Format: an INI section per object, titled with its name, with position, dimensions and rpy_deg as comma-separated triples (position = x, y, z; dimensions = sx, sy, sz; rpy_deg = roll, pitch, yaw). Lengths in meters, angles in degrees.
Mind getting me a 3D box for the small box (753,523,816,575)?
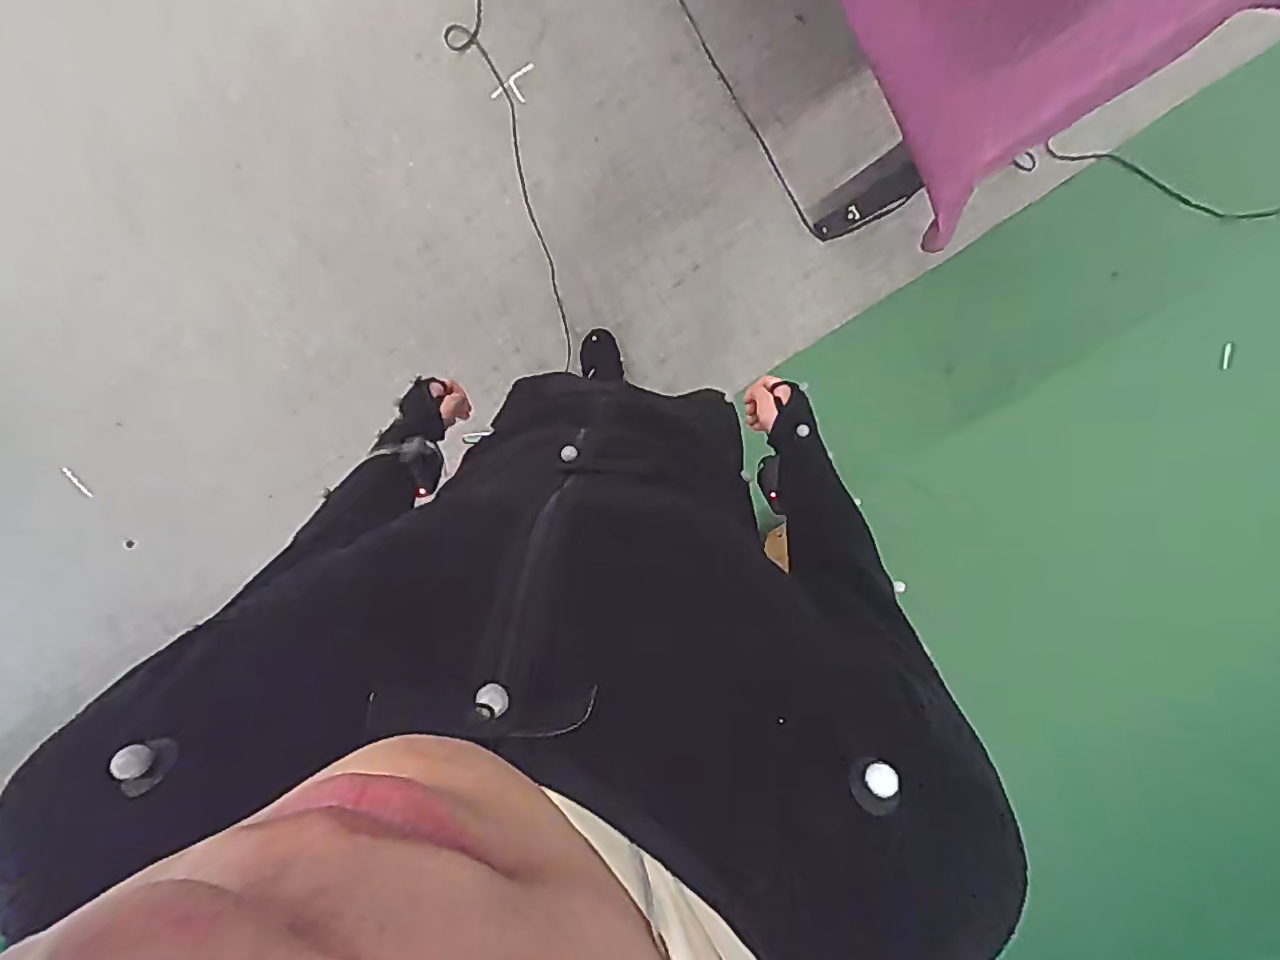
[small box]
position = 0.464, 0.259, 1.631
dimensions = 0.168, 0.176, 0.179
rpy_deg = -33, 102, 8
